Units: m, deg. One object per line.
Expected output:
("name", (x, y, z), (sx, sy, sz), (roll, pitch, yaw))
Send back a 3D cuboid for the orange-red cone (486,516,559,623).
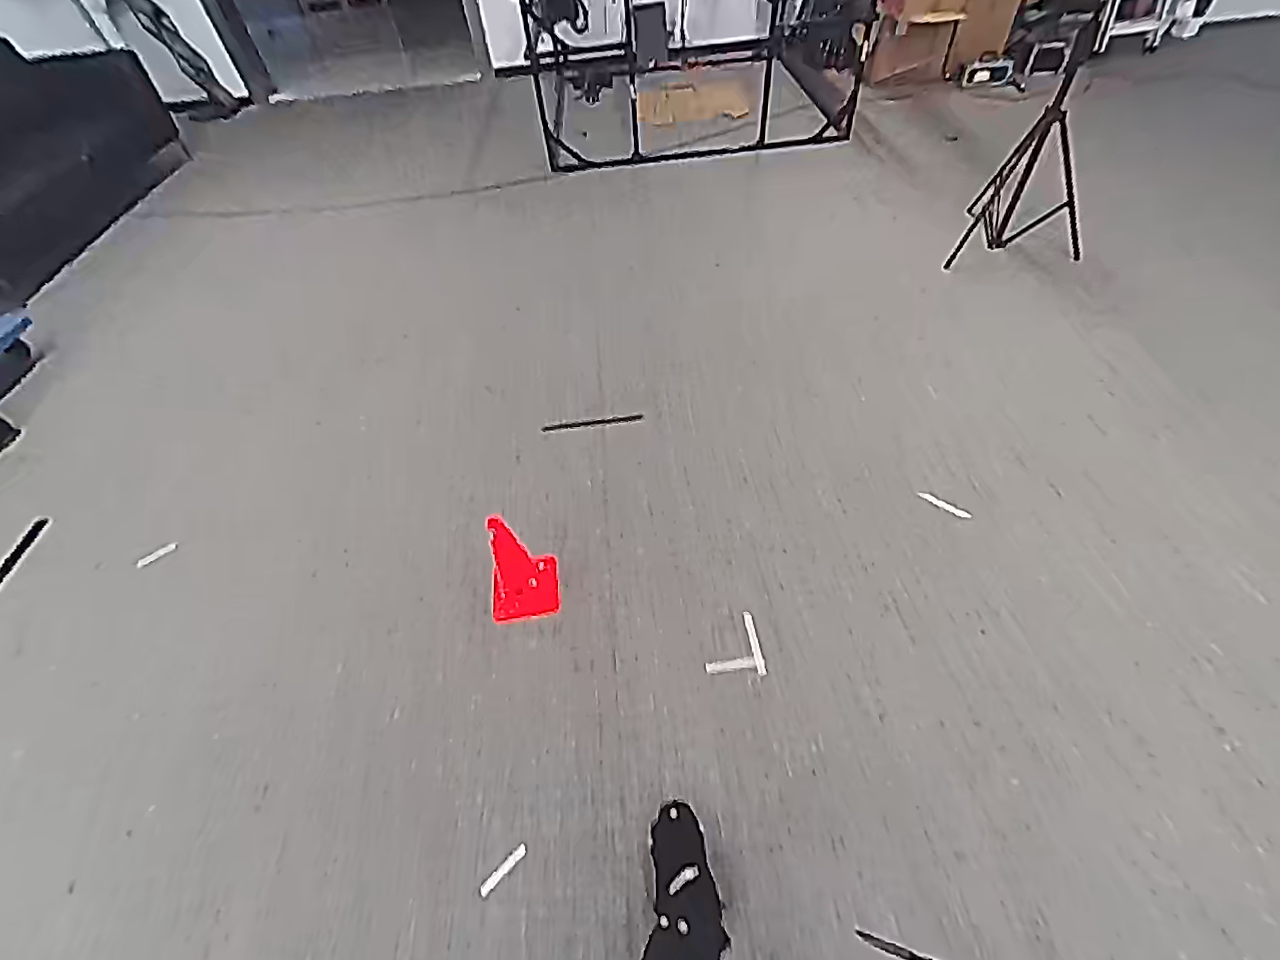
("orange-red cone", (-0.359, 0.220, 1.498), (0.199, 0.360, 0.198), (-10, 49, -1))
